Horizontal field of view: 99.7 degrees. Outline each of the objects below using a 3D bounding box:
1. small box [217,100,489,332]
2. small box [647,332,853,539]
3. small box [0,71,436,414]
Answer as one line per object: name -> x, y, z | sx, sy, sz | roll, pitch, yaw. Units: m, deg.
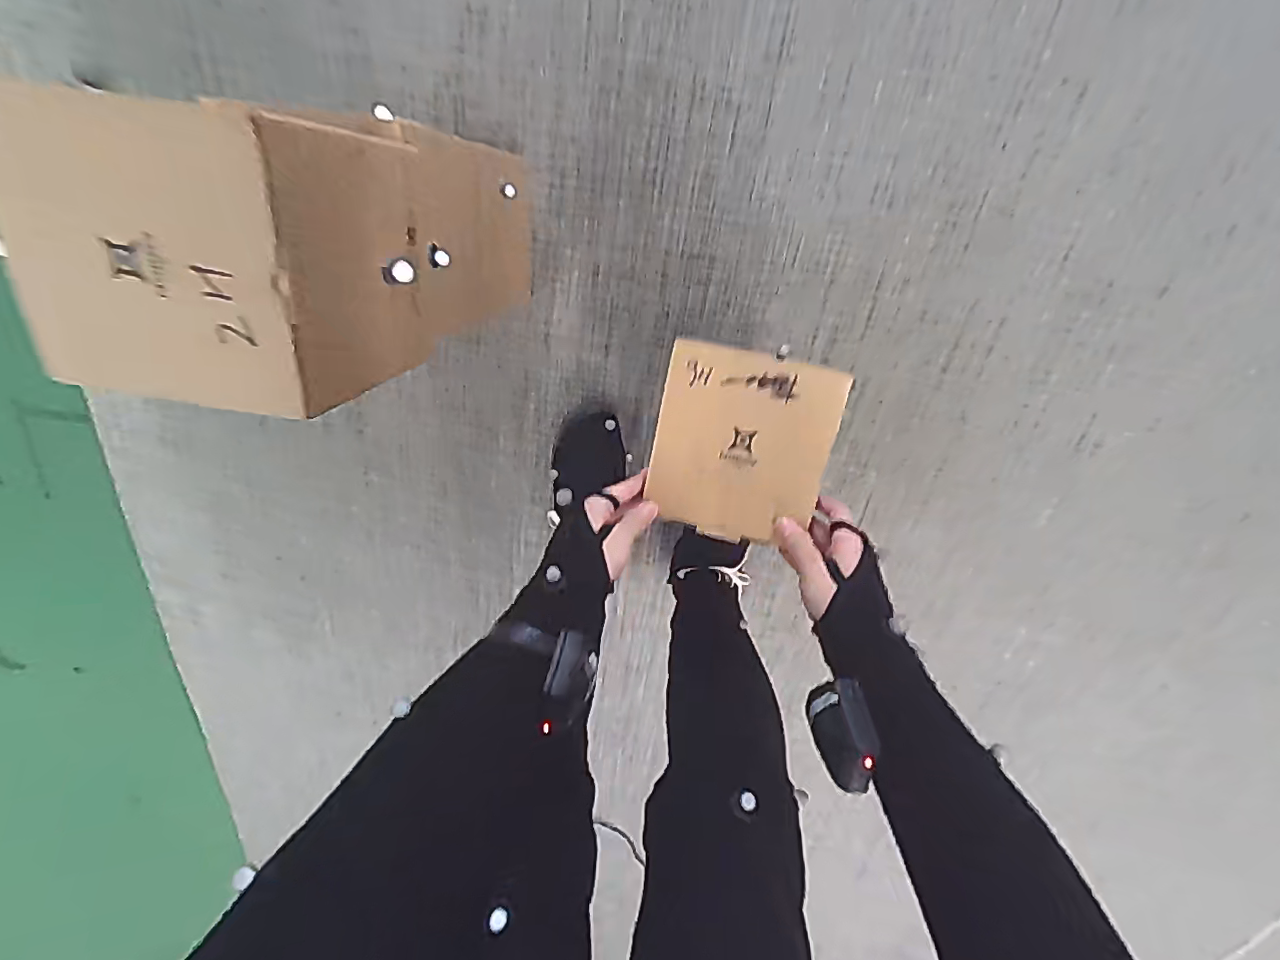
small box -> -0.254, -0.244, 0.529 | 0.168, 0.176, 0.179 | 8, 115, 2
small box -> 0.116, -0.061, 0.598 | 0.168, 0.176, 0.179 | 13, 107, 7
small box -> -0.267, -0.162, 0.386 | 0.179, 0.176, 0.168 | 9, 116, 2
